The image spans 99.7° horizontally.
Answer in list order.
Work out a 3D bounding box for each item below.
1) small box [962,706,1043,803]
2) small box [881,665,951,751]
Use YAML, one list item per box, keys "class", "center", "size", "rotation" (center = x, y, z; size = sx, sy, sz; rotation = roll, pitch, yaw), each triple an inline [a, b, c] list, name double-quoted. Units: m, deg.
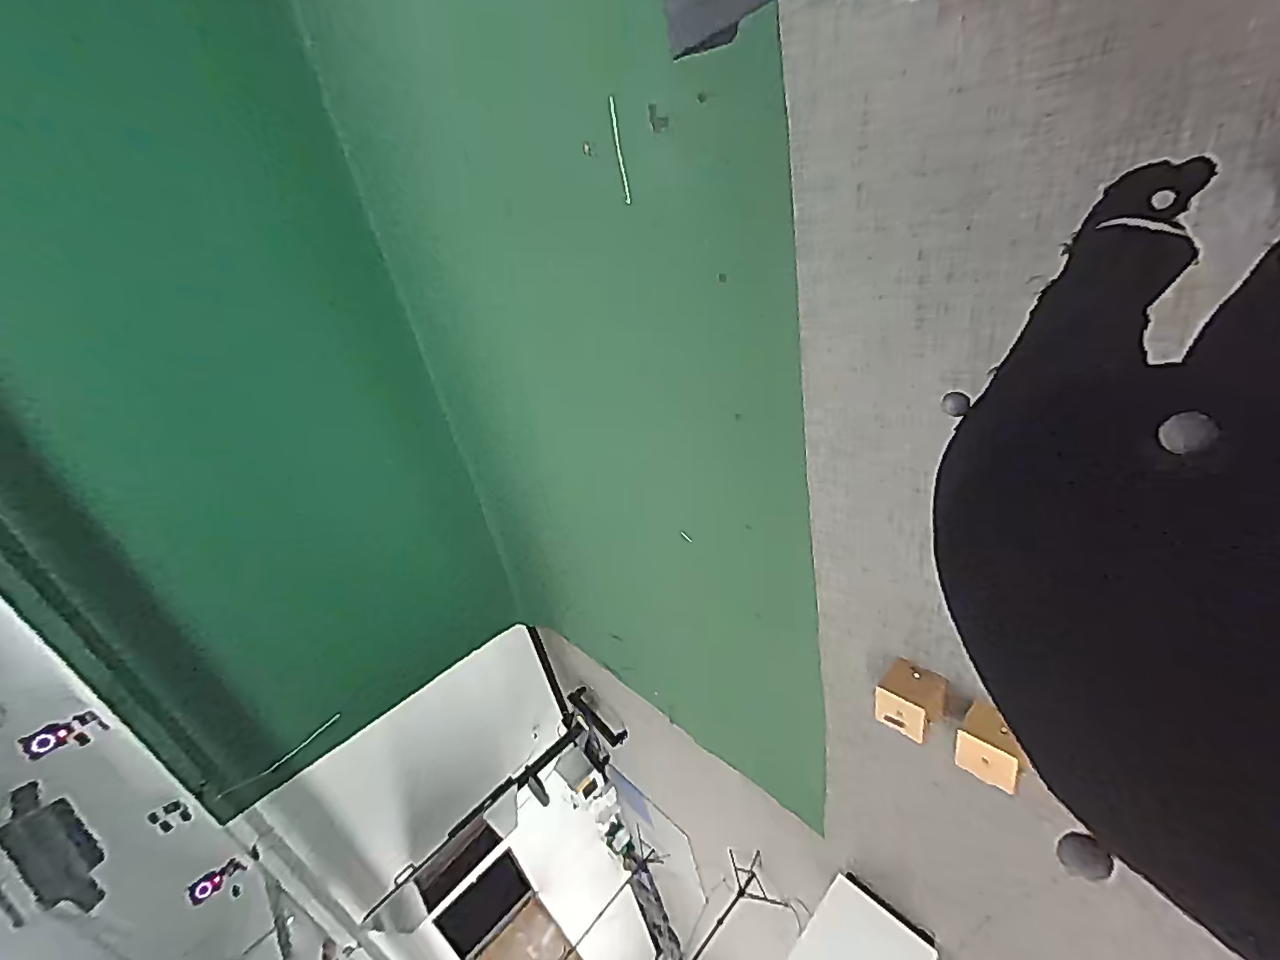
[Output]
- class: "small box"
  center: [1.136, 0.851, 1.695]
  size: [0.168, 0.176, 0.179]
  rotation: [18, 129, 47]
- class: "small box"
  center: [0.960, 0.787, 1.880]
  size: [0.168, 0.176, 0.179]
  rotation: [18, 129, 46]
